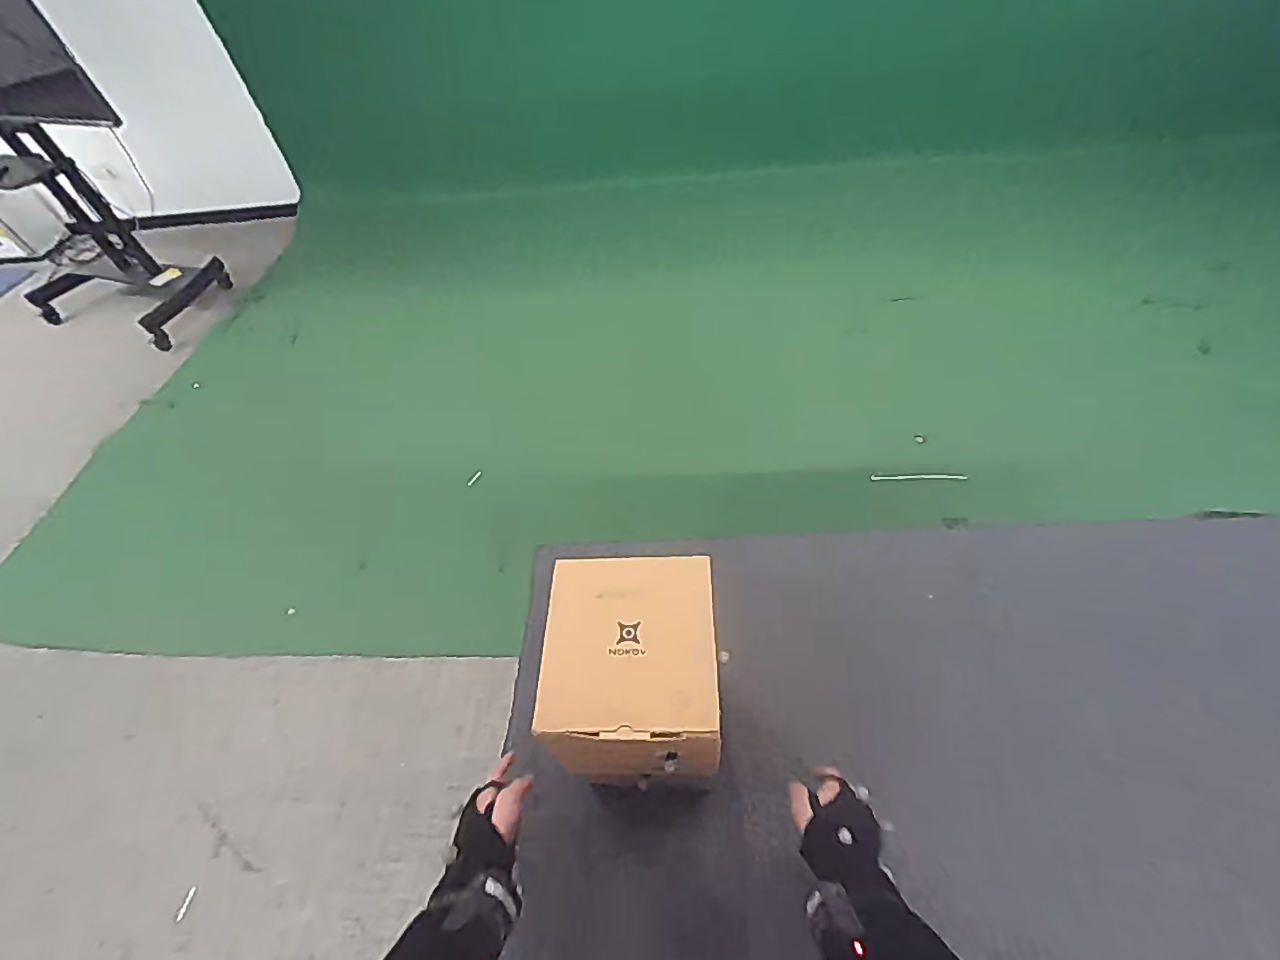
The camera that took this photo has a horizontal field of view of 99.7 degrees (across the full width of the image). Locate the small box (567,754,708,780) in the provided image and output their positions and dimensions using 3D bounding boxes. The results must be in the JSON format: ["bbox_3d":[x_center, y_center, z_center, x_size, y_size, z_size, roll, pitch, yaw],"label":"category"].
[{"bbox_3d":[0.006,0.285,0.714,0.168,0.176,0.179,-1,51,5],"label":"small box"}]

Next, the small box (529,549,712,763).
[{"bbox_3d":[-0.009,0.193,0.580,0.168,0.176,0.179,-2,50,4],"label":"small box"}]
